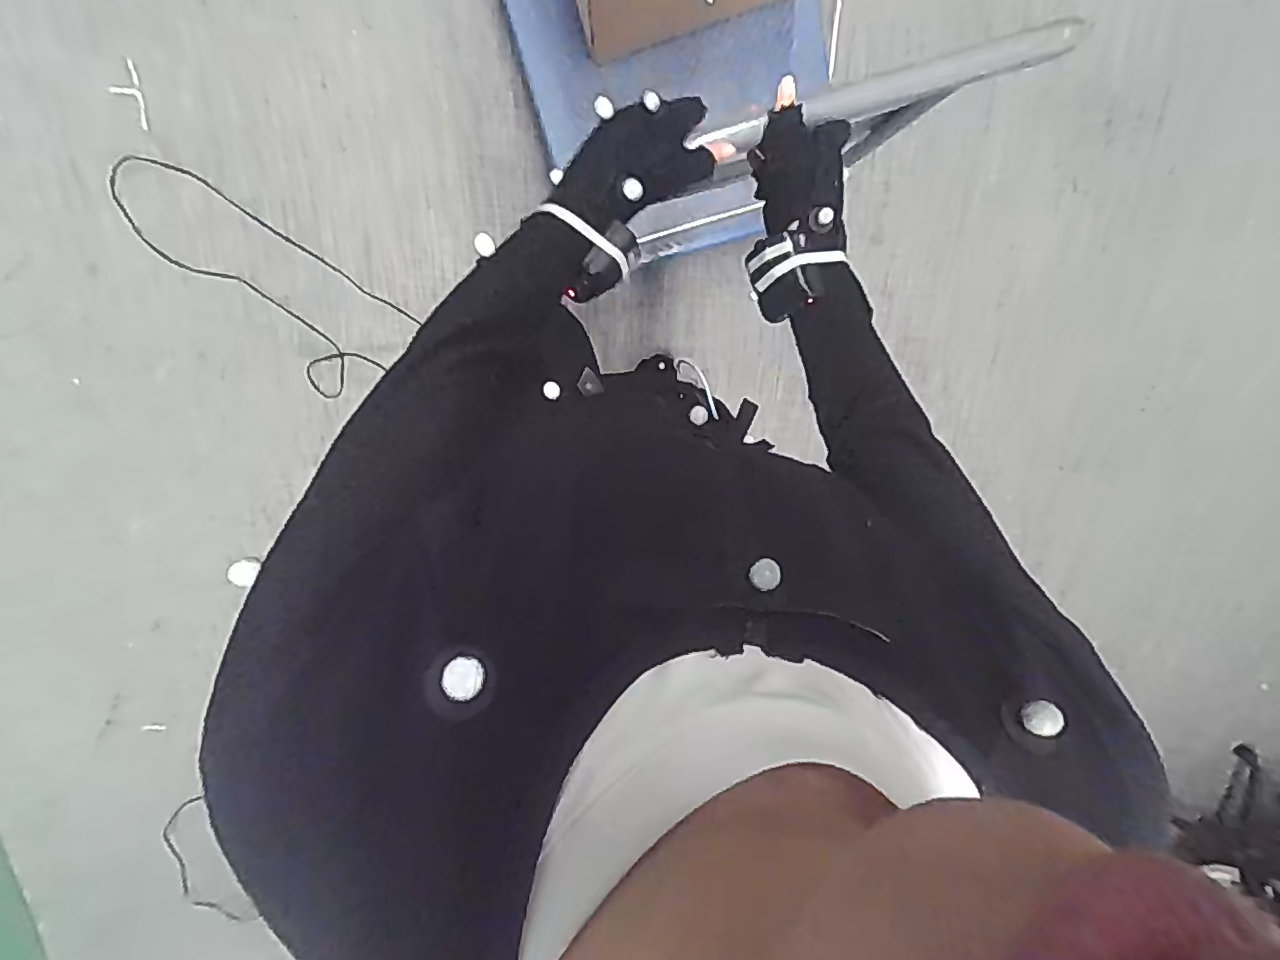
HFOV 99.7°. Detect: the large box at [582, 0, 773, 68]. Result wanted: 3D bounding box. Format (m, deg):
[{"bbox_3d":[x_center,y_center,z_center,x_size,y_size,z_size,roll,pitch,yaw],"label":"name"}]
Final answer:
[{"bbox_3d":[0.073,-0.953,0.857,0.408,0.320,0.320,-19,107,4],"label":"large box"}]
